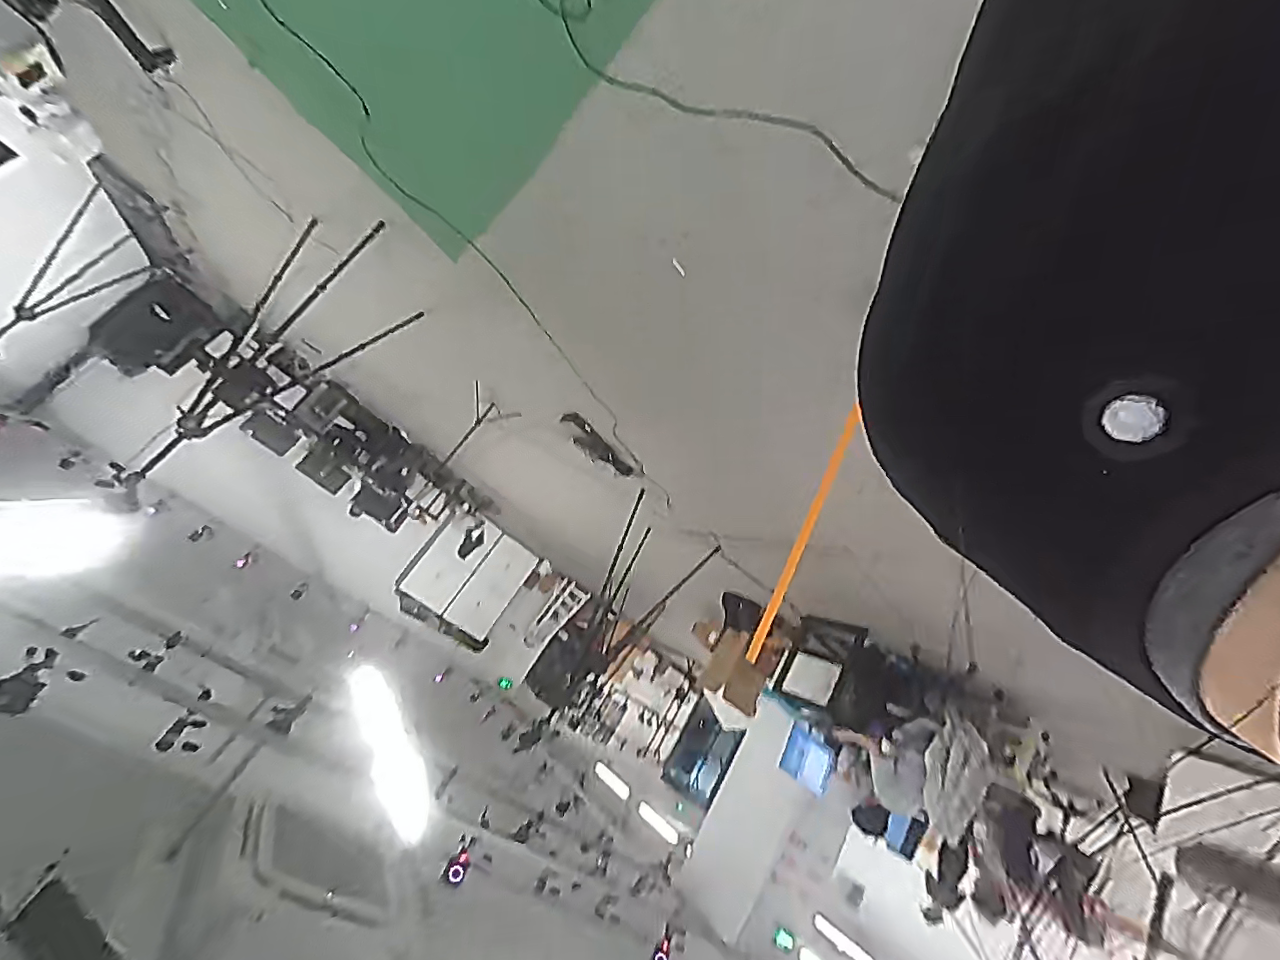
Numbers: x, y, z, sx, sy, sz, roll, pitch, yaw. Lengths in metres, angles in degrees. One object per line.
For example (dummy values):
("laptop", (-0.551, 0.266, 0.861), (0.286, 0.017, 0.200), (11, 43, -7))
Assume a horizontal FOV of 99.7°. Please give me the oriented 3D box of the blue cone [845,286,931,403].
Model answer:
("blue cone", (0.718, -0.386, 1.642), (0.192, 0.380, 0.193), (25, 160, 17))
